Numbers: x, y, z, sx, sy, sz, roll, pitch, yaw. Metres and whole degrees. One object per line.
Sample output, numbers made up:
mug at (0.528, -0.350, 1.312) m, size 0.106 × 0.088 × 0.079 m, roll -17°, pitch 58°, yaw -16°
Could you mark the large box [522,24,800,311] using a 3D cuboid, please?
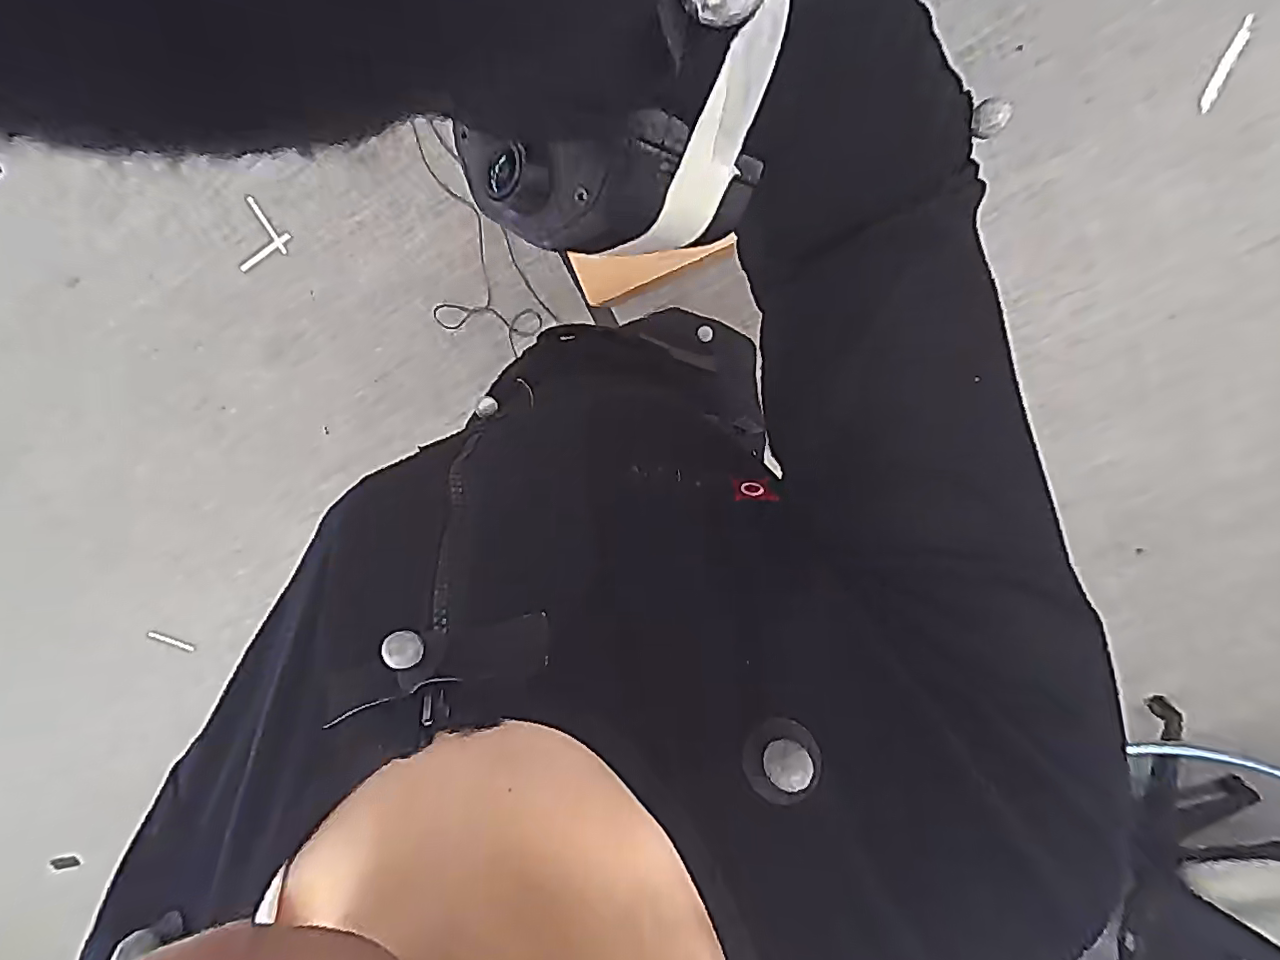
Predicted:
large box at (0.046, -0.560, 1.062) m, size 0.408 × 0.320 × 0.320 m, roll -21°, pitch 104°, yaw 10°
